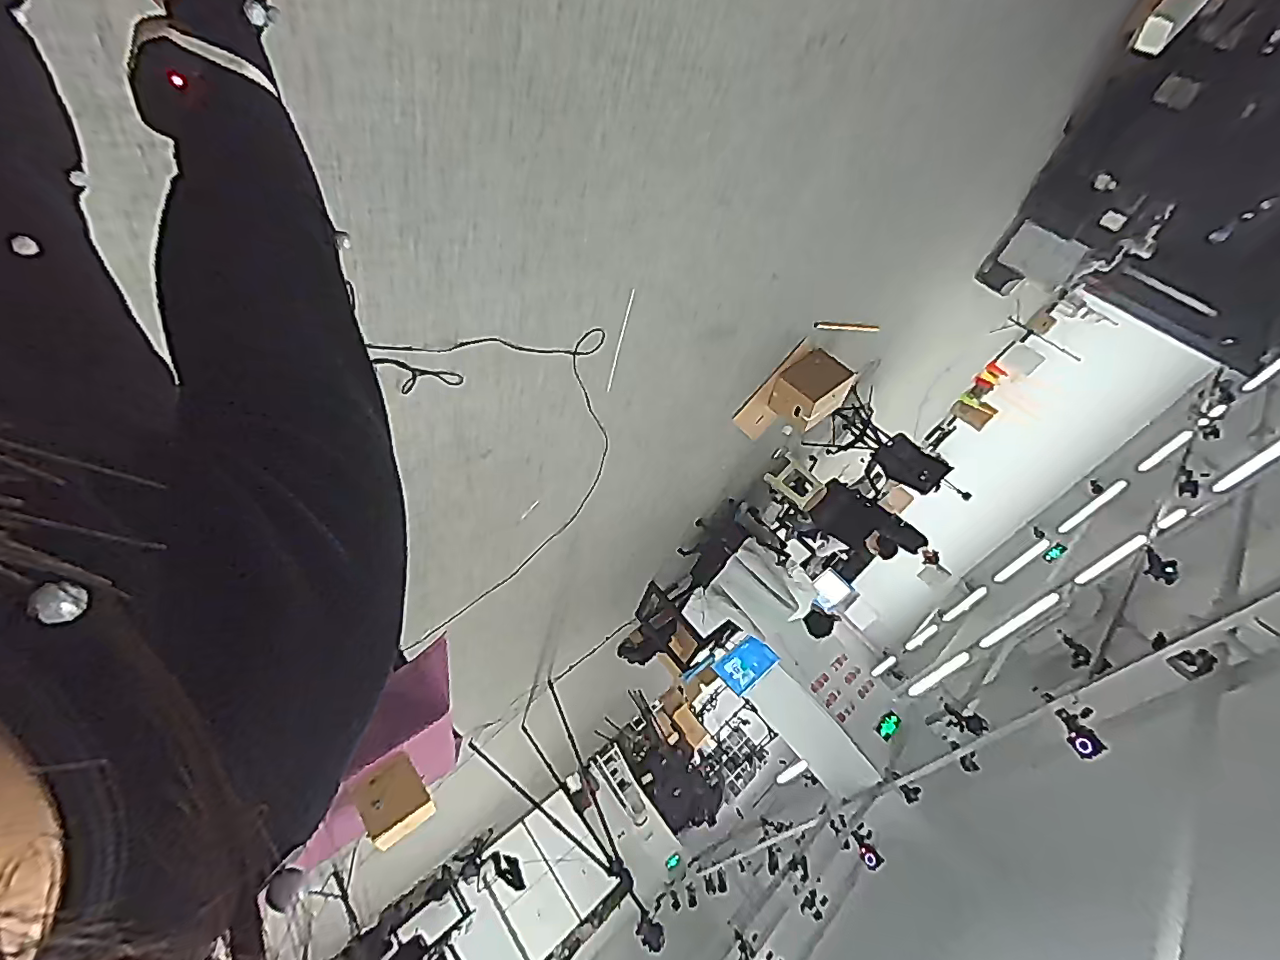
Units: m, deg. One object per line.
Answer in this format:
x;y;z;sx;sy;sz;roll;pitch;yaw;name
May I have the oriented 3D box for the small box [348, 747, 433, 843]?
-0.727;0.914;1.579;0.168;0.176;0.179;-27;153;-32;small box
